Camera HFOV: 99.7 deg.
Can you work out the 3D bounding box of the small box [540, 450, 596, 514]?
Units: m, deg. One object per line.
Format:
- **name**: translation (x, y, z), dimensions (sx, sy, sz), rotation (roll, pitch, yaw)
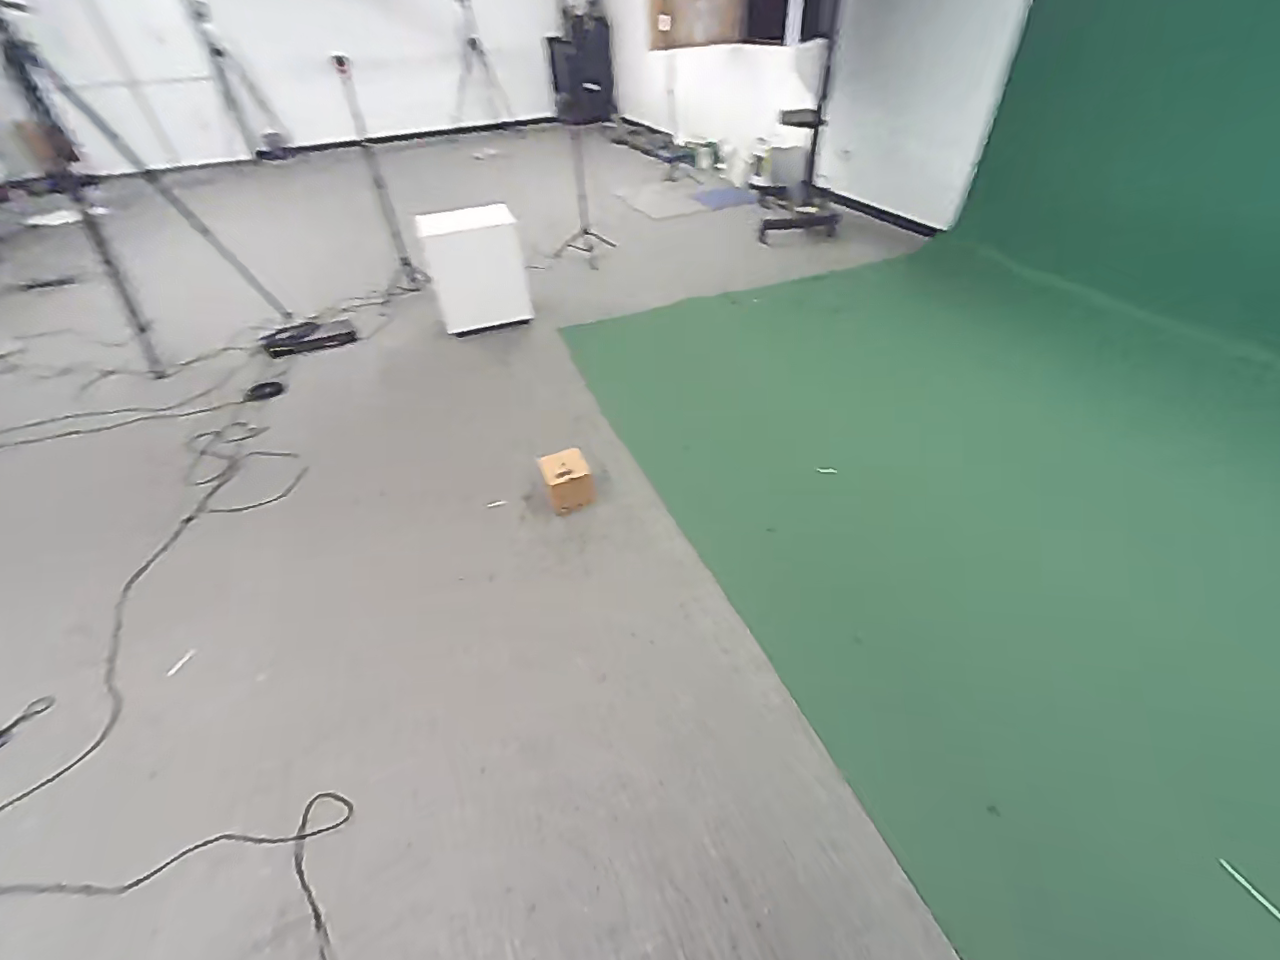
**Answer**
- **small box**: translation (-0.280, 0.015, 2.131), dimensions (0.168, 0.176, 0.179), rotation (-18, 43, -16)
